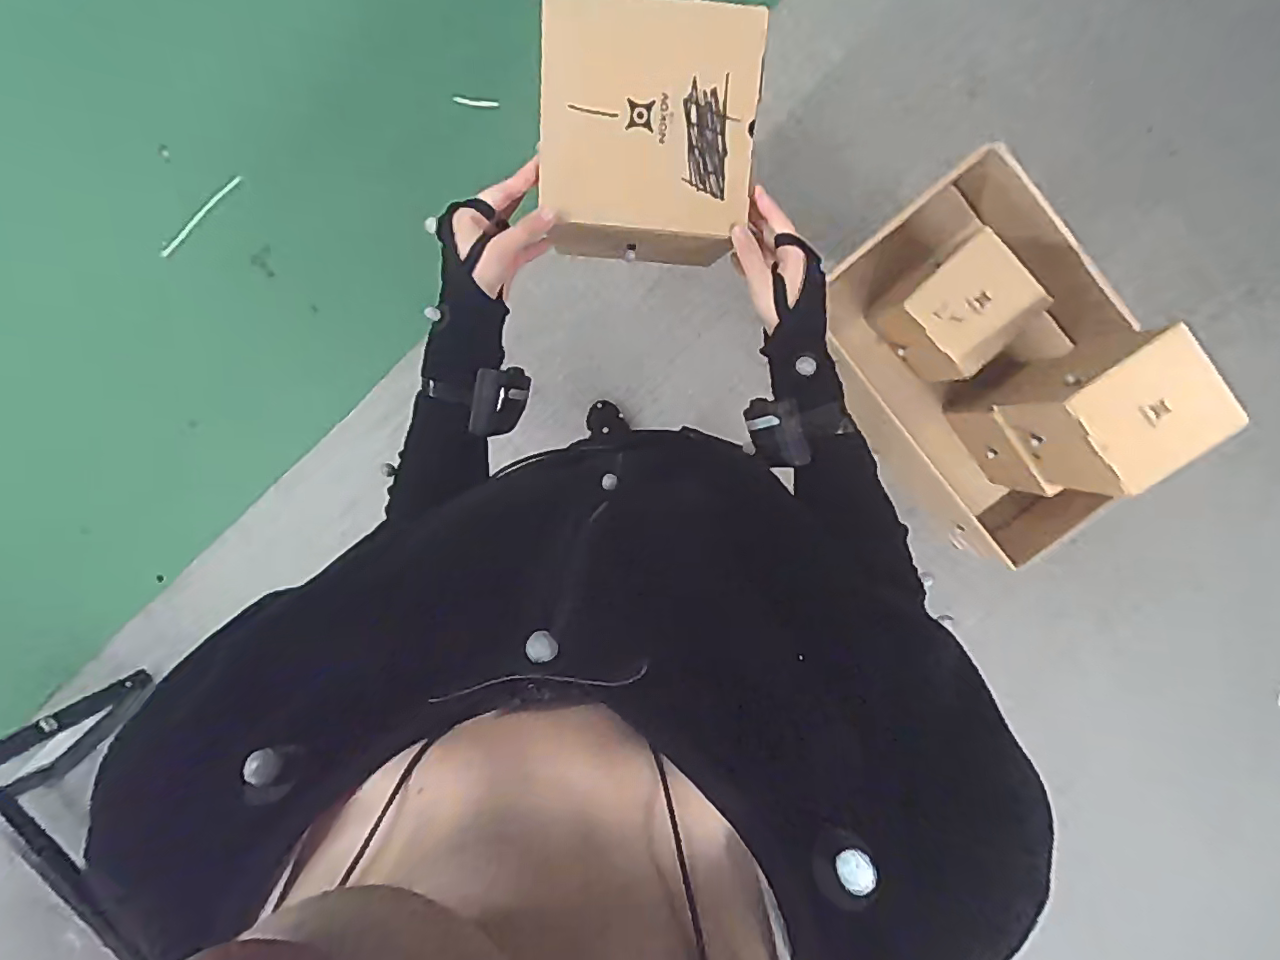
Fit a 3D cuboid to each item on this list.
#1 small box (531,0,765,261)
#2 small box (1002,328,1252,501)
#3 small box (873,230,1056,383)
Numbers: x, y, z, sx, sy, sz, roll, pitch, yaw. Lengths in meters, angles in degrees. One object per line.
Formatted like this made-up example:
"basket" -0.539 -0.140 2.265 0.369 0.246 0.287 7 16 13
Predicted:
"small box" 0.000 -0.307 0.502 0.179 0.176 0.168 3 103 -3
"small box" 0.689 -0.093 0.789 0.179 0.176 0.168 -37 93 6
"small box" 0.545 -0.286 0.937 0.179 0.176 0.168 -43 93 7
